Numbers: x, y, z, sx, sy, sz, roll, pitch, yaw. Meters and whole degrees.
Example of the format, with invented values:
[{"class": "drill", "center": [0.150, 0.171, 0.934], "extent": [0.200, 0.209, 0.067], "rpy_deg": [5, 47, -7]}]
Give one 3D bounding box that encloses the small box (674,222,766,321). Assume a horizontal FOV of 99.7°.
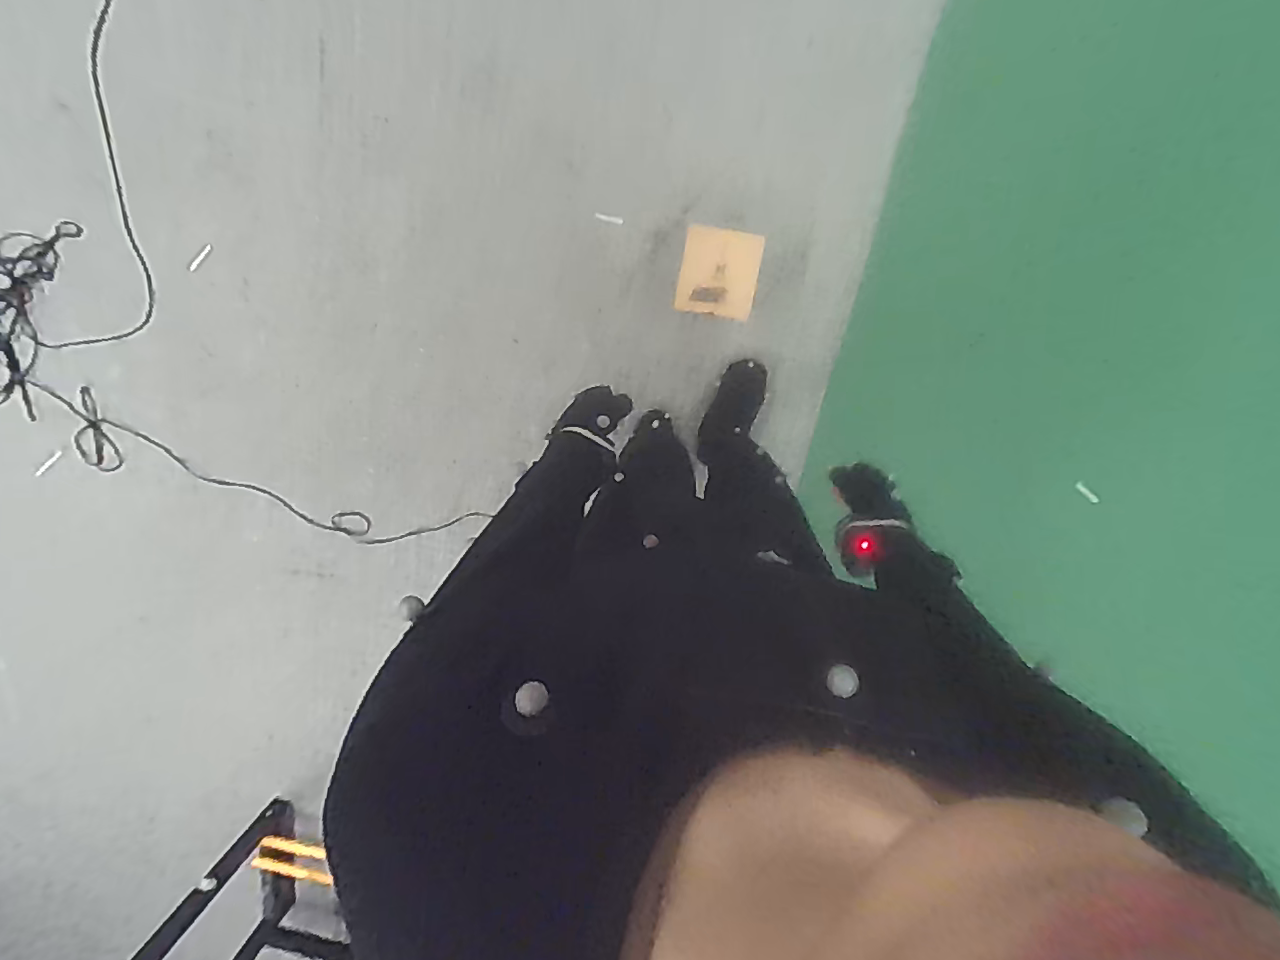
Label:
[{"class": "small box", "center": [0.176, -0.460, 1.212], "extent": [0.168, 0.176, 0.179], "rpy_deg": [11, 108, 3]}]
